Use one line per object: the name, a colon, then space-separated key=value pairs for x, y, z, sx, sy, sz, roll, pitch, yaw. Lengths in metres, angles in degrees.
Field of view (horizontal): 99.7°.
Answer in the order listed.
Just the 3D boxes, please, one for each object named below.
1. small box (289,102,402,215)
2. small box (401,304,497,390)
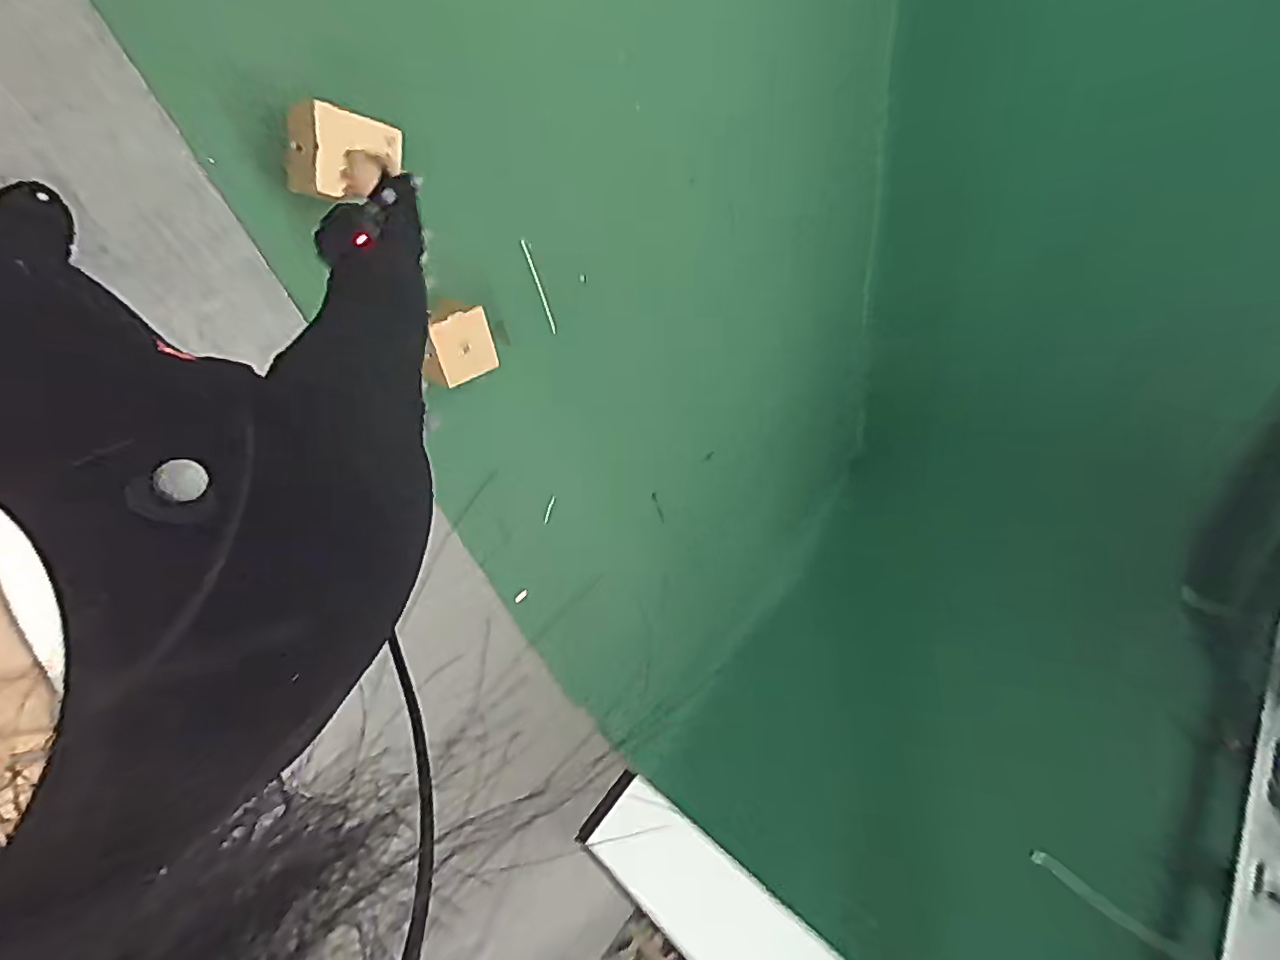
small box: x=-0.646 y=-0.688 z=1.178 sx=0.179 sy=0.176 sz=0.168 roll=-8 pitch=115 yaw=-48
small box: x=-0.529 y=-0.375 z=1.494 sx=0.168 sy=0.176 sz=0.179 roll=-35 pitch=135 yaw=-32
